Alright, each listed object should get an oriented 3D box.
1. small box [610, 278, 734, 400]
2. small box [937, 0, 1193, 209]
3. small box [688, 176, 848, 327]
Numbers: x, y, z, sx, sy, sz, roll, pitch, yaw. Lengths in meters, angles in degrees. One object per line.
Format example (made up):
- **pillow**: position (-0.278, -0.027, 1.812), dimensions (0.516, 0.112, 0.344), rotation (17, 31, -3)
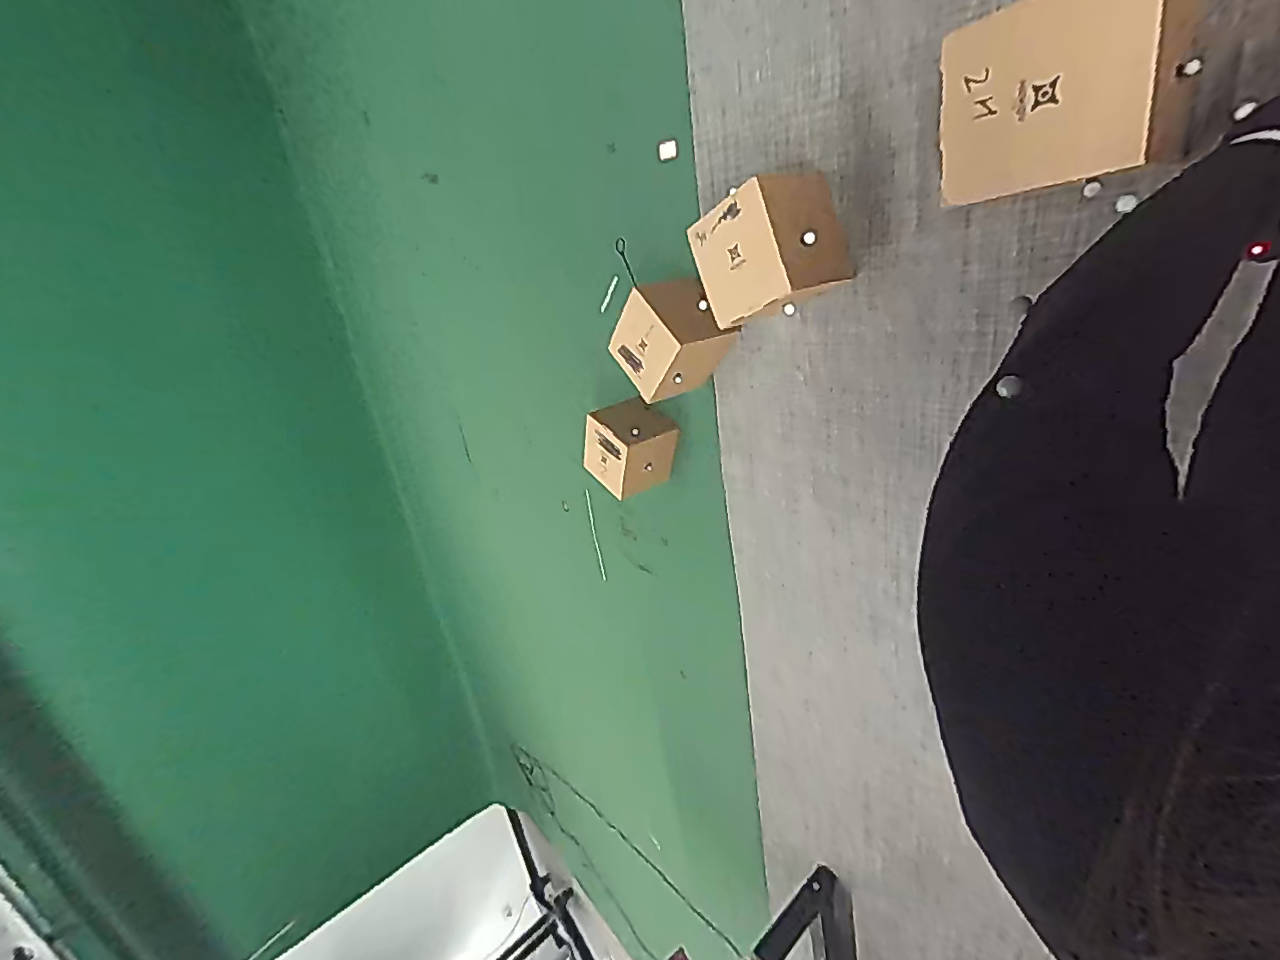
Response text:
- **small box**: position (0.067, -0.301, 1.146), dimensions (0.168, 0.176, 0.179), rotation (56, 144, 16)
- **small box**: position (0.442, -0.398, 0.571), dimensions (0.179, 0.176, 0.168), rotation (14, 120, 50)
- **small box**: position (0.215, -0.378, 0.897), dimensions (0.168, 0.176, 0.179), rotation (-11, 101, 56)
